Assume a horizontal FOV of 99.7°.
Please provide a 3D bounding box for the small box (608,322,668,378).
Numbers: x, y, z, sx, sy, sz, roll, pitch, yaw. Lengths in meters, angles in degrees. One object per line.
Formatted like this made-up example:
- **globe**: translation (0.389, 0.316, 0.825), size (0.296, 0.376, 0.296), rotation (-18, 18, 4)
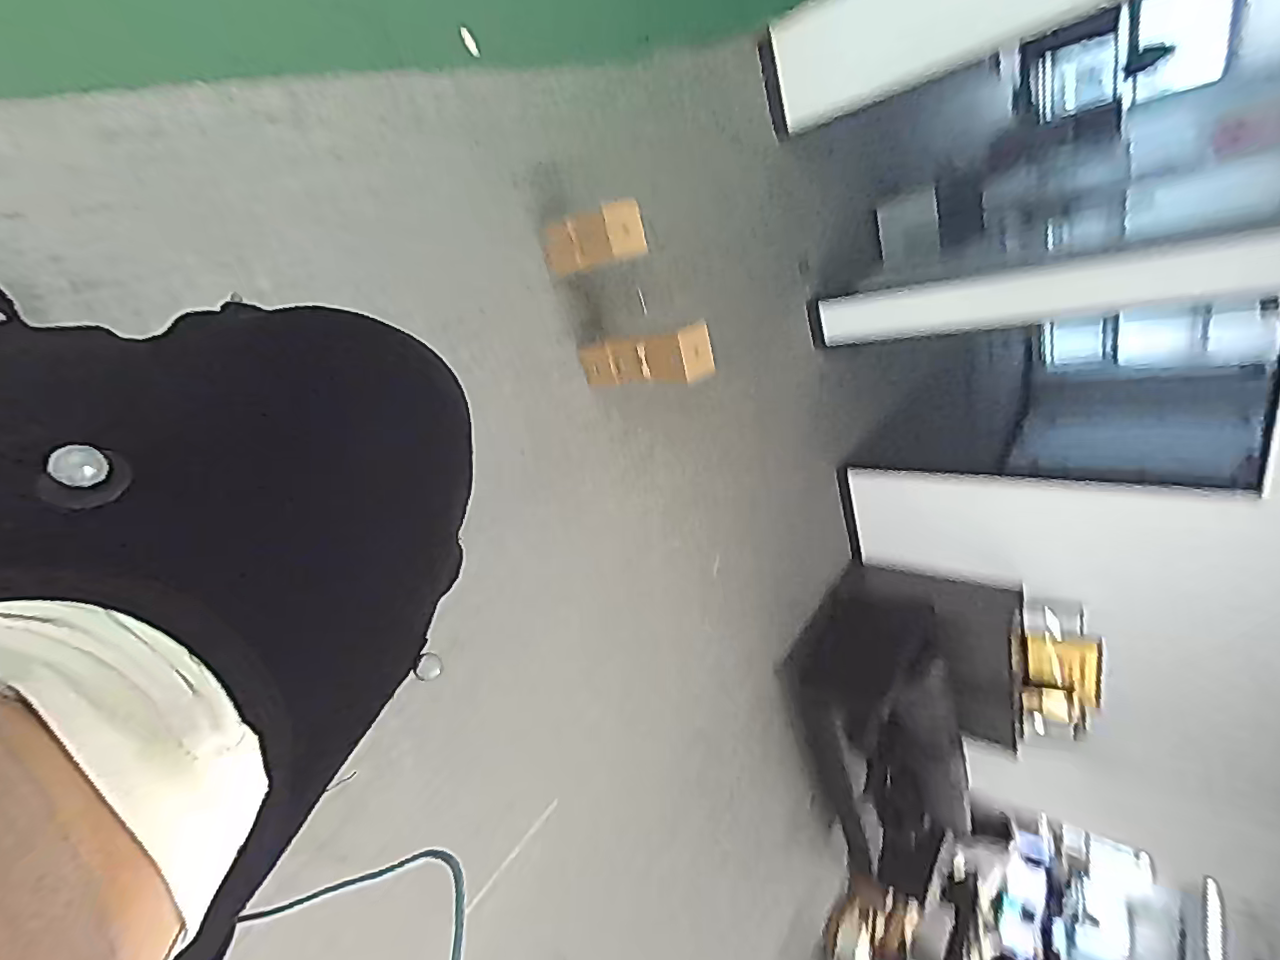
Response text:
- **small box**: translation (0.007, -0.489, 2.033), size (0.179, 0.176, 0.168), rotation (-32, 116, -40)

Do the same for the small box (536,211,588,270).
- **small box**: translation (-0.258, -0.877, 1.972), size (0.179, 0.176, 0.168), rotation (-35, 119, -39)

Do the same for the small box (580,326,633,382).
- **small box**: translation (-0.119, -0.496, 2.139), size (0.179, 0.176, 0.168), rotation (-37, 120, -37)

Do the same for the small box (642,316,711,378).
- **small box**: translation (0.127, -0.470, 1.923), size (0.168, 0.176, 0.179), rotation (-32, 117, -39)

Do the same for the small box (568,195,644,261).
- **small box**: translation (-0.119, -0.865, 1.862), size (0.179, 0.176, 0.168), rotation (-34, 119, -39)
